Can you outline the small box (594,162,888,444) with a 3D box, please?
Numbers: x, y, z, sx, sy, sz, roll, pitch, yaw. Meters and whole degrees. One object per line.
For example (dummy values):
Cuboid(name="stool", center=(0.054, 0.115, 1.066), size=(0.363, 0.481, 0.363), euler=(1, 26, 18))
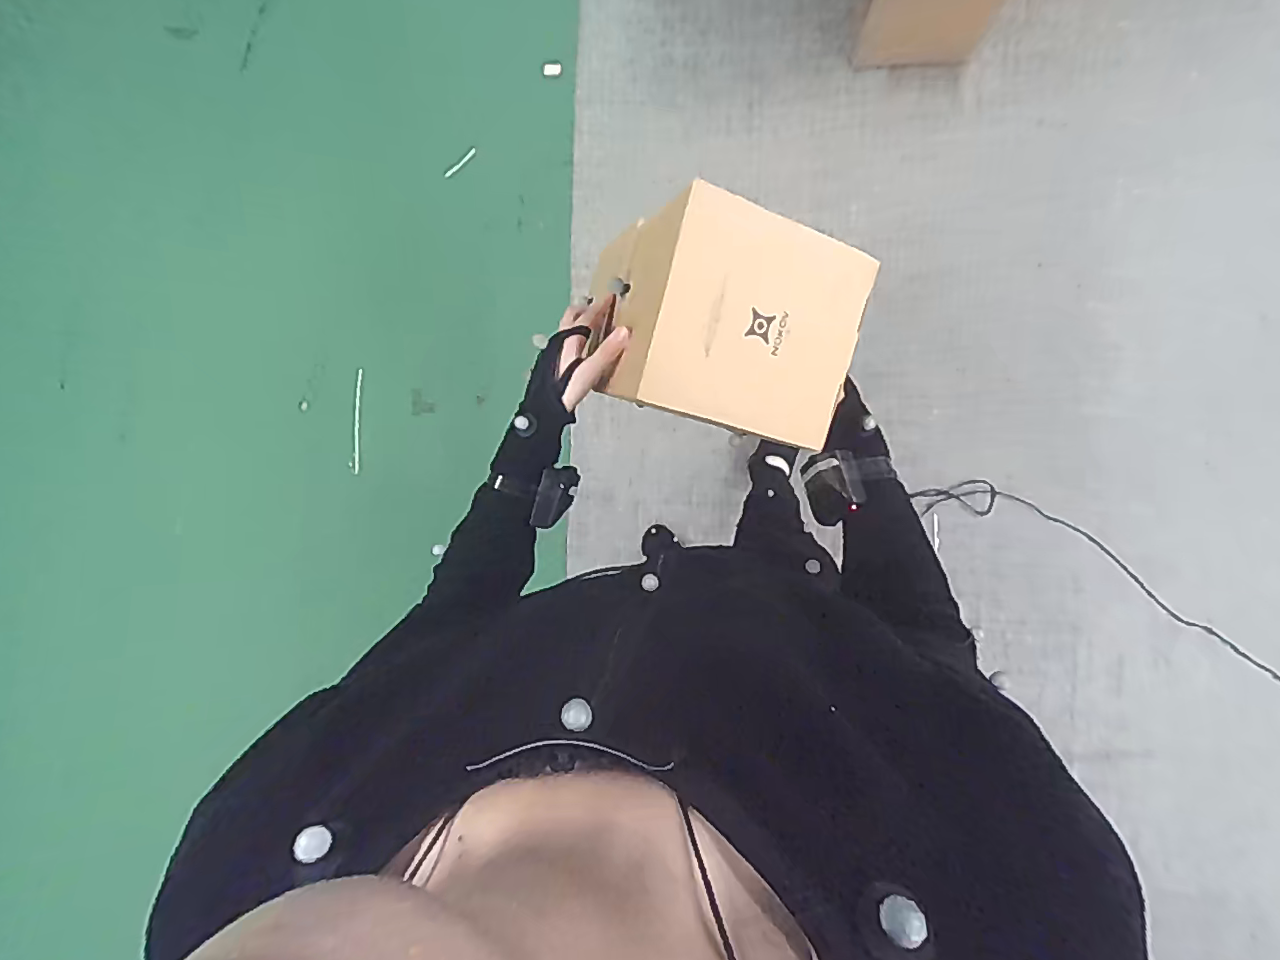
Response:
Cuboid(name="small box", center=(0.074, -0.142, 0.488), size=(0.179, 0.176, 0.168), euler=(14, 96, -19))
